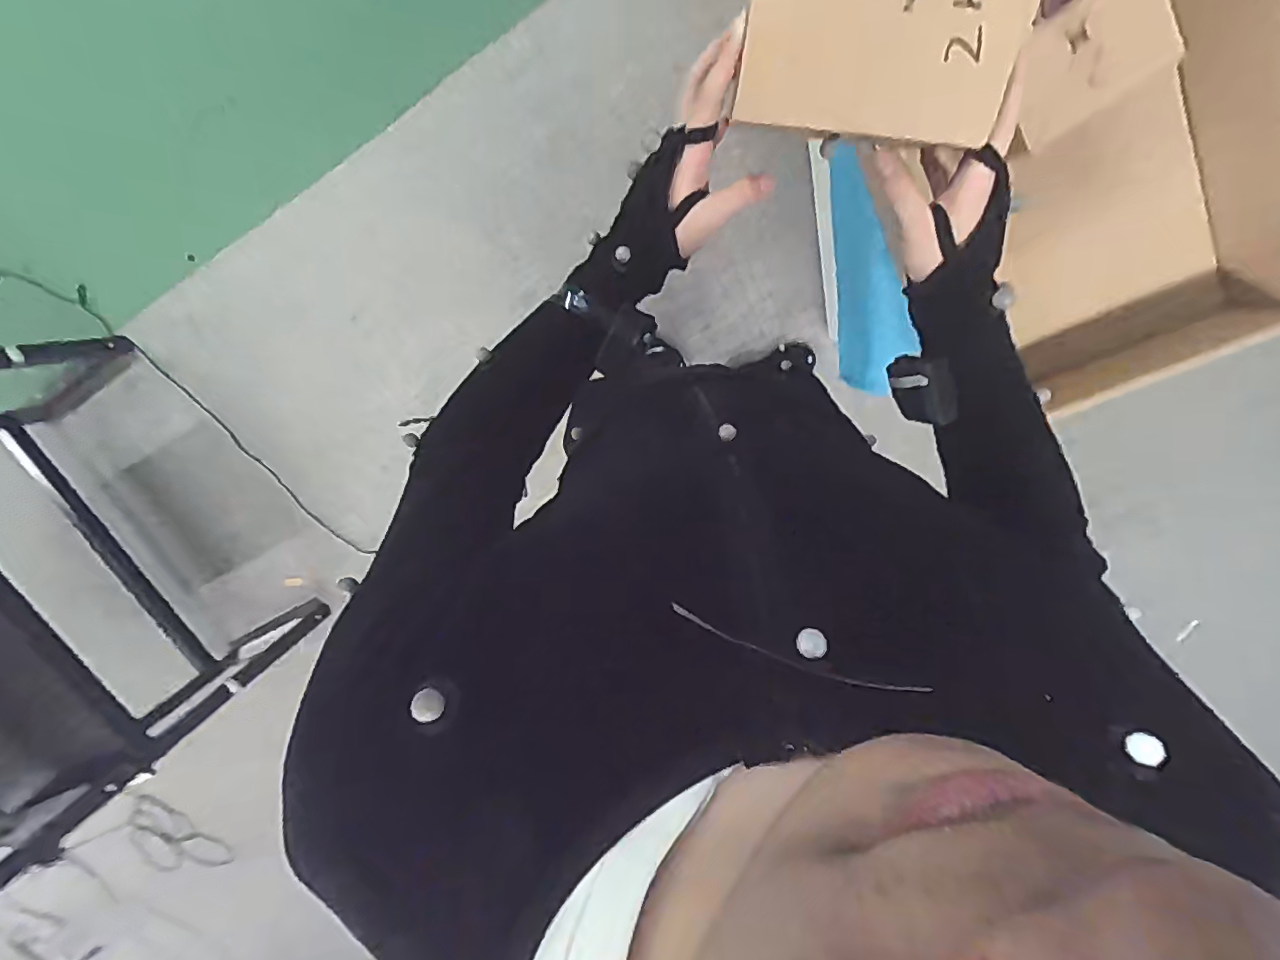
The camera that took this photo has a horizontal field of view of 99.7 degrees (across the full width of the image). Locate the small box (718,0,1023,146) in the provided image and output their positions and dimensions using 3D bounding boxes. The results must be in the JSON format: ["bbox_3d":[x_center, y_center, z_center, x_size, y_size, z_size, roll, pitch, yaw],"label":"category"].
[{"bbox_3d":[0.157,-0.350,0.396,0.179,0.176,0.168,8,123,2],"label":"small box"}]
